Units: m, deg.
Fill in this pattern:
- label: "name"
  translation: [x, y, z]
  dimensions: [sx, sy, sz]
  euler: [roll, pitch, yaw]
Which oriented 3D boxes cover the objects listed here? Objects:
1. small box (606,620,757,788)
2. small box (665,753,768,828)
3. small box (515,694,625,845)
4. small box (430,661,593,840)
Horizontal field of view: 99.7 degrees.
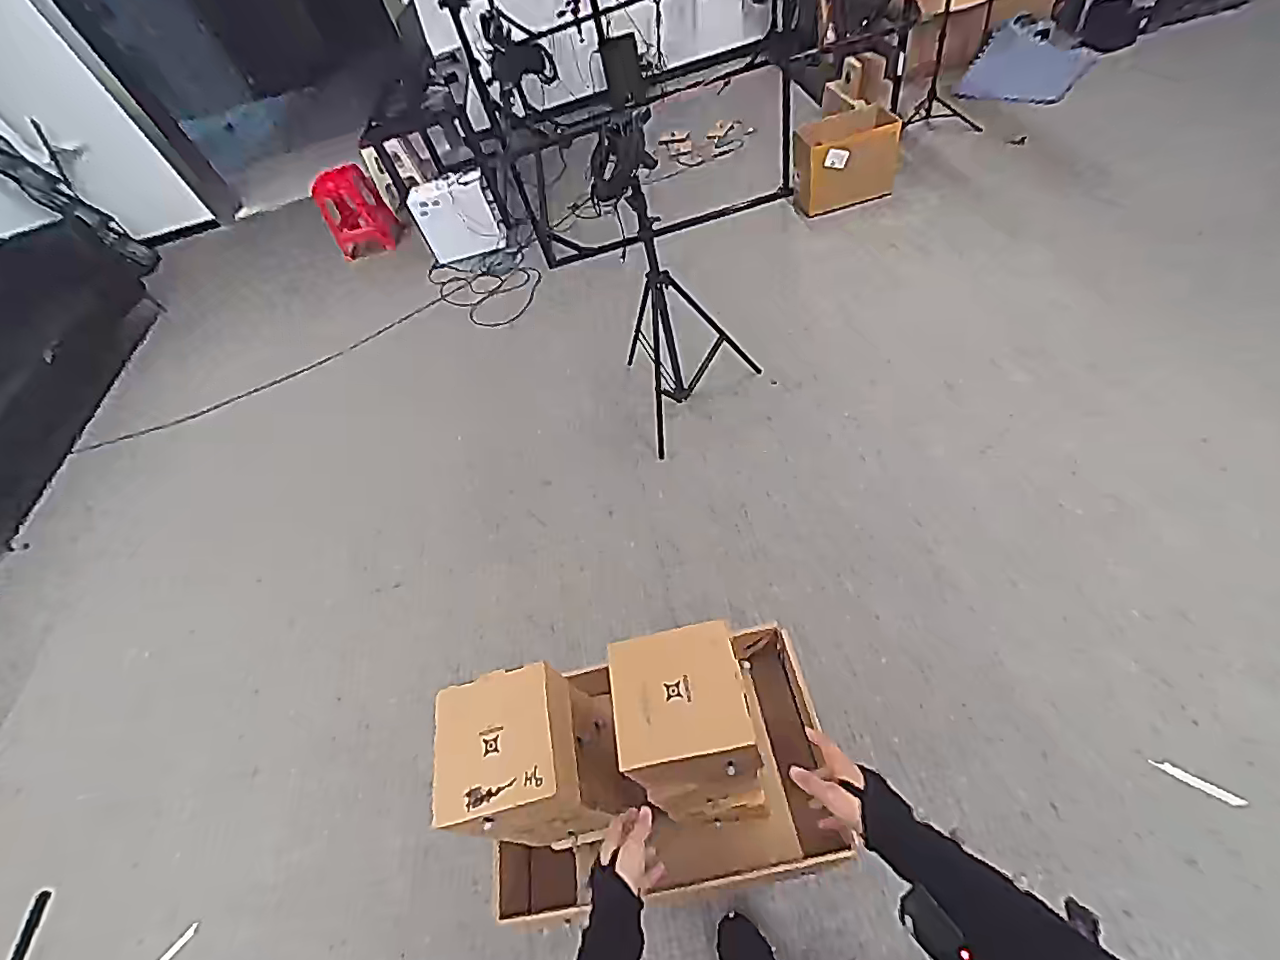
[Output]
- label: "small box"
  translation: [0.063, 0.322, 0.768]
  dimensions: [0.179, 0.176, 0.168]
  euler: [-15, 51, 7]
- label: "small box"
  translation: [0.136, 0.530, 1.010]
  dimensions: [0.168, 0.176, 0.179]
  euler: [-14, 51, 7]
- label: "small box"
  translation: [-0.133, 0.488, 0.907]
  dimensions: [0.168, 0.176, 0.179]
  euler: [-17, 51, 4]
- label: "small box"
  translation: [-0.177, 0.392, 0.779]
  dimensions: [0.168, 0.176, 0.179]
  euler: [-18, 50, 4]
